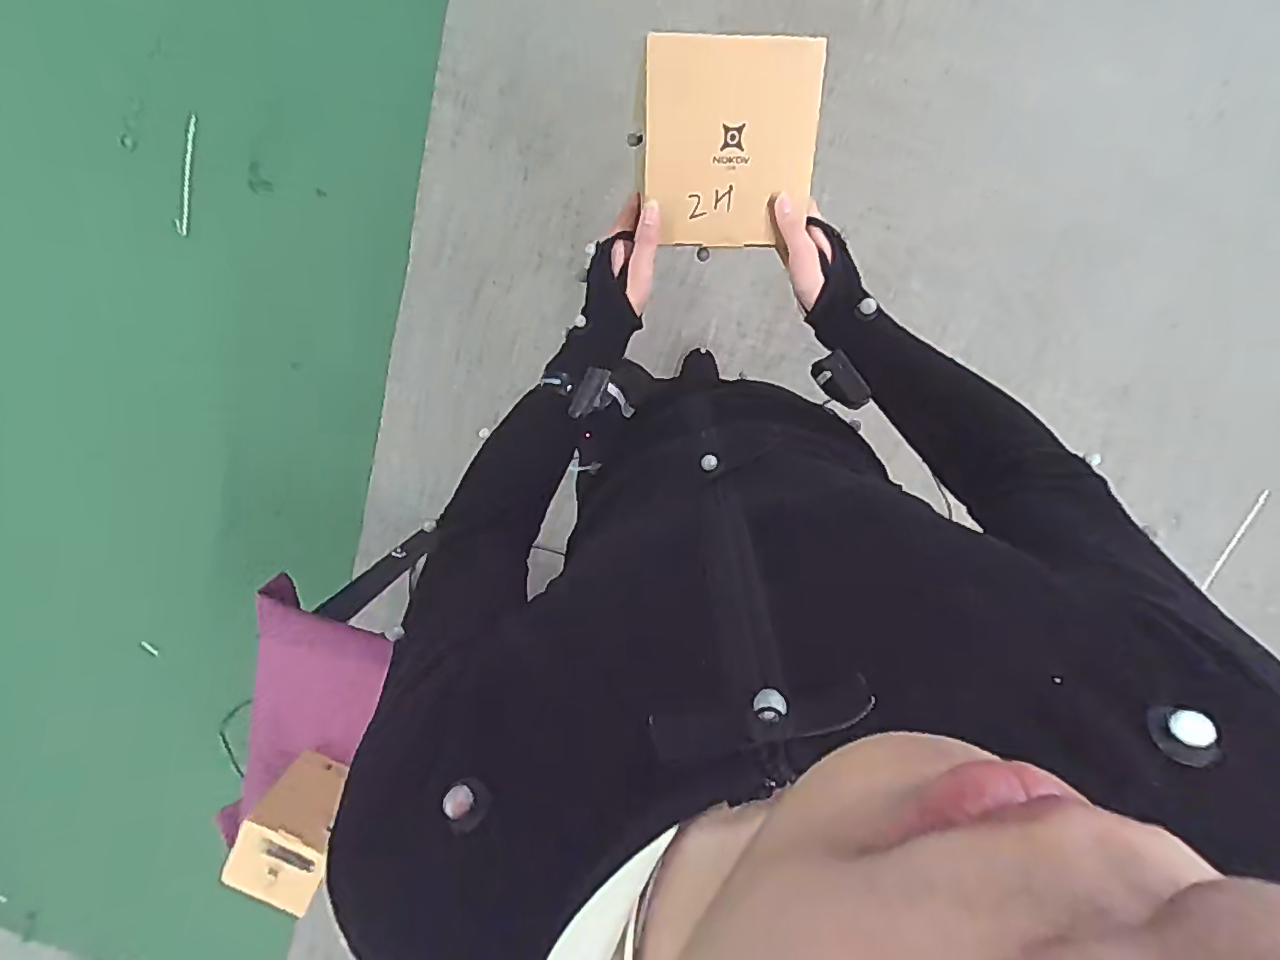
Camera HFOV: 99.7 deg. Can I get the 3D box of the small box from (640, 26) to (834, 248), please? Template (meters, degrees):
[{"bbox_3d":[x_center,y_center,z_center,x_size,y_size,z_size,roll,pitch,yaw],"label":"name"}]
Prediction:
[{"bbox_3d":[0.087,-0.351,0.587,0.168,0.176,0.179,0,114,-4],"label":"small box"}]
